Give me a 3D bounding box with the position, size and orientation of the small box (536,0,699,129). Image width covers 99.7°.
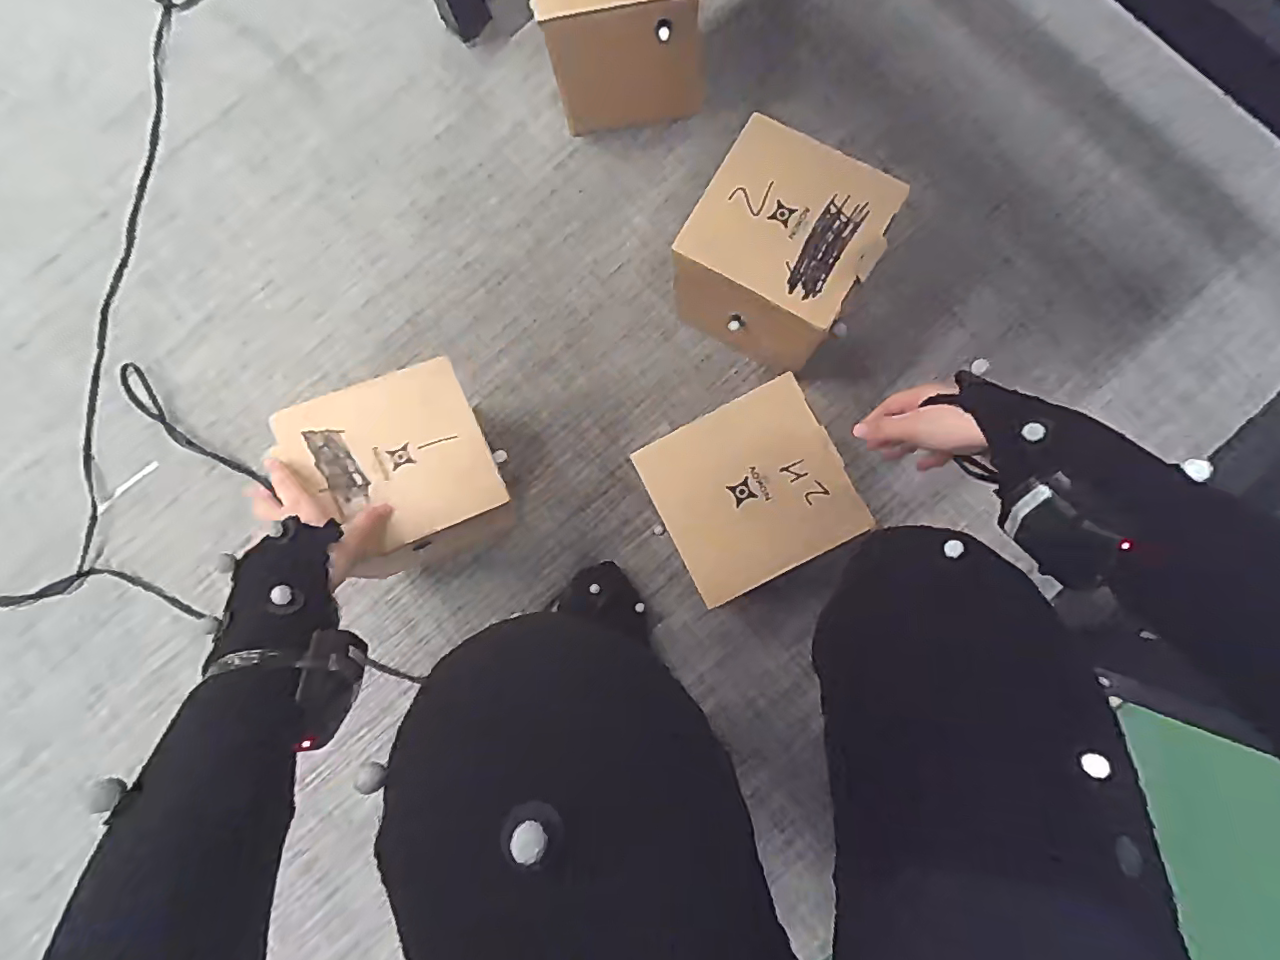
[{"bbox_3d":[-0.024,-0.563,0.651,0.179,0.176,0.168,-8,83,3],"label":"small box"}]
